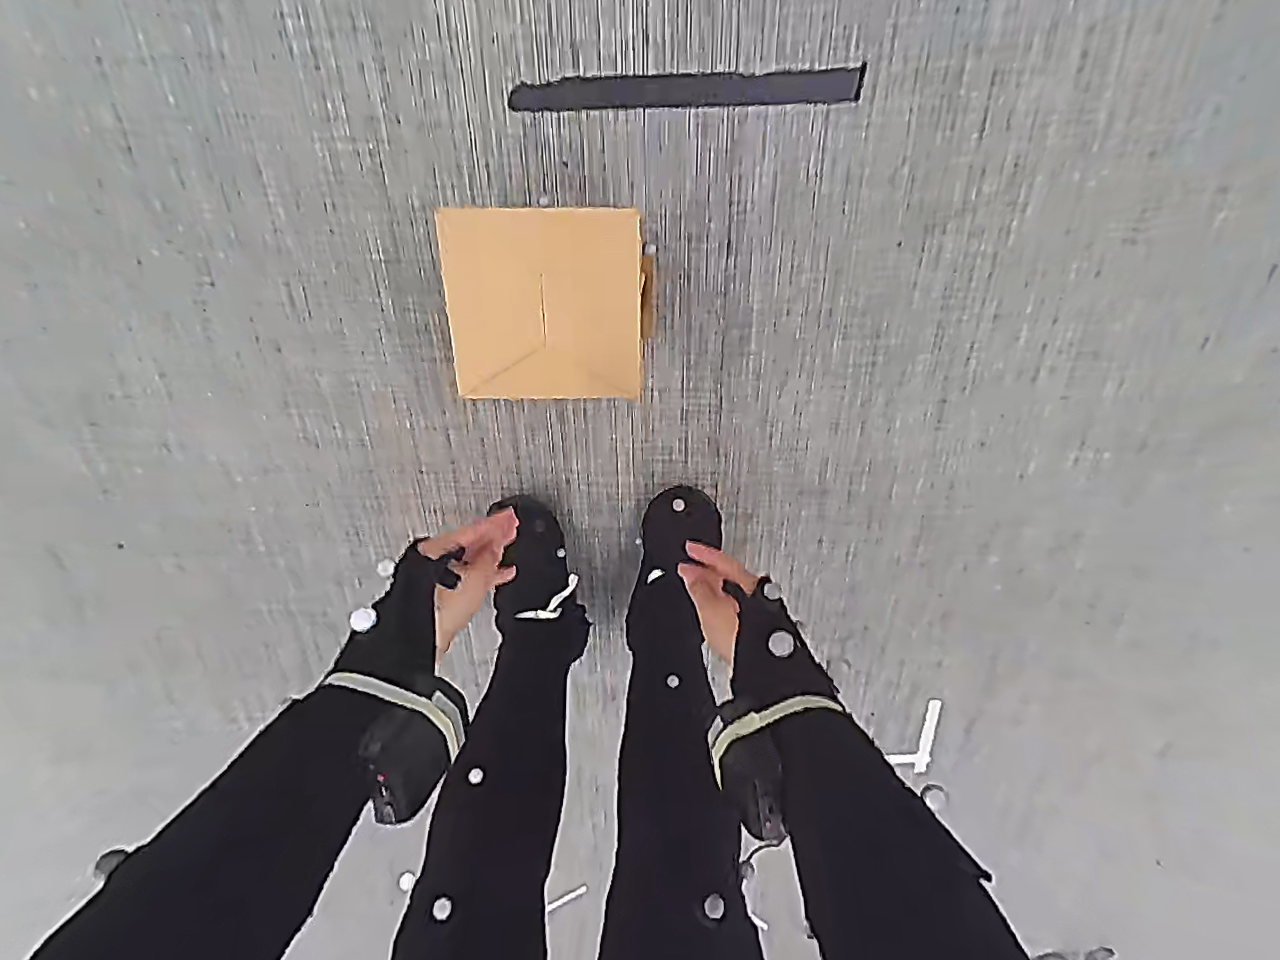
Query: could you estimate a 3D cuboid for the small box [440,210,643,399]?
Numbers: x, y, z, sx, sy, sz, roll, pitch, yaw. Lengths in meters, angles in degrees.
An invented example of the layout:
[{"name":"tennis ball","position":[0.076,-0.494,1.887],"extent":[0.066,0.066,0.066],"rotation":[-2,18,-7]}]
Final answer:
[{"name":"small box","position":[-0.085,-0.184,0.563],"extent":[0.179,0.176,0.168],"rotation":[0,114,-1]}]
